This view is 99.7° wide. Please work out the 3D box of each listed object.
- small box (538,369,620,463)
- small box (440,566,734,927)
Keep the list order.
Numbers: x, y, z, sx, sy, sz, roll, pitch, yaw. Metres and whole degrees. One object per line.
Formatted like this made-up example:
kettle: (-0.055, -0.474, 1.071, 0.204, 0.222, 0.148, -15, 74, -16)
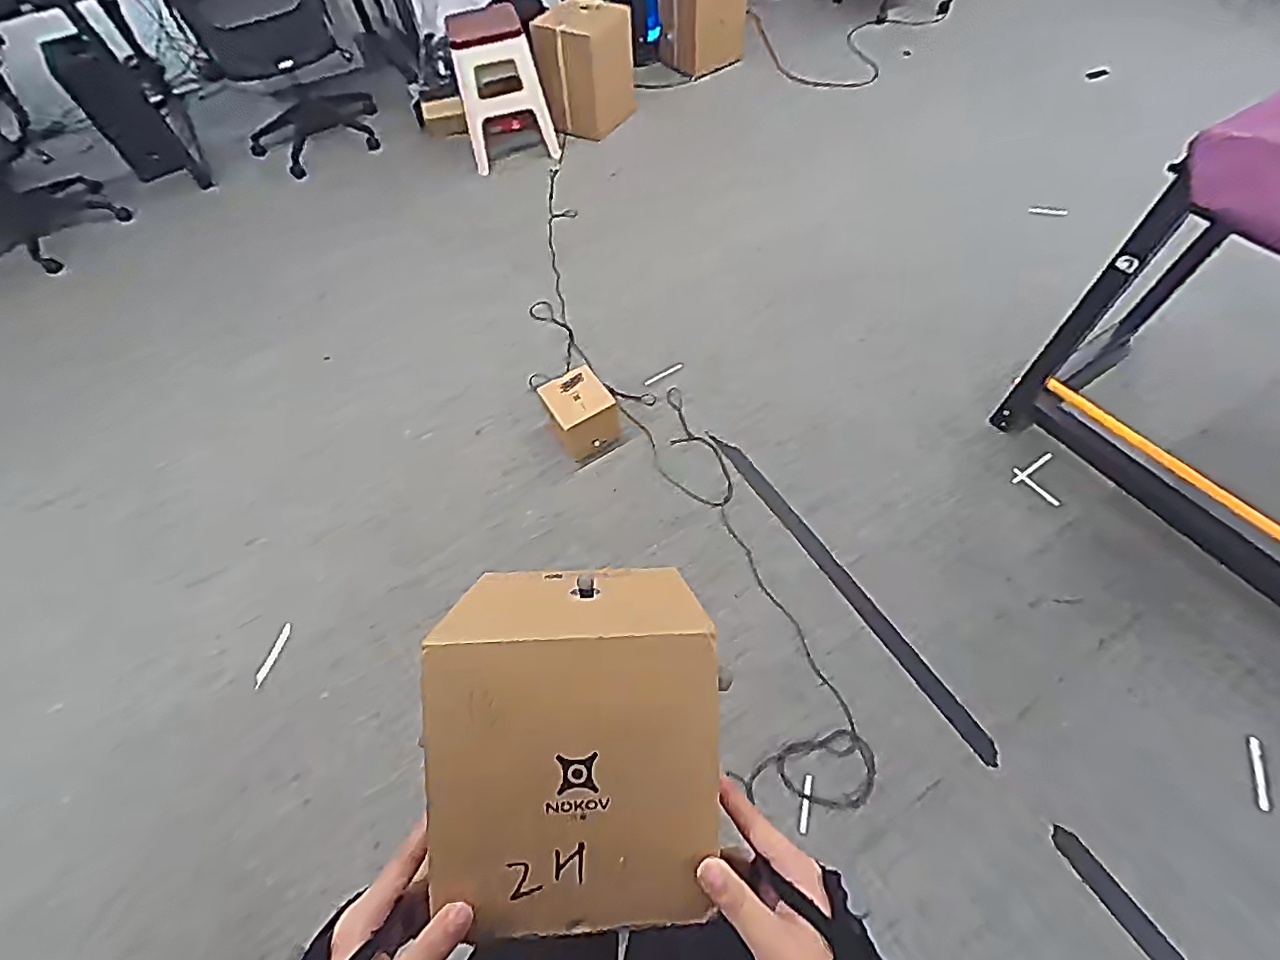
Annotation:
small box: (-0.175, -0.184, 1.582, 0.168, 0.176, 0.179, -30, 62, -13)
small box: (-0.035, 0.158, 0.382, 0.168, 0.176, 0.179, 0, 92, -4)
